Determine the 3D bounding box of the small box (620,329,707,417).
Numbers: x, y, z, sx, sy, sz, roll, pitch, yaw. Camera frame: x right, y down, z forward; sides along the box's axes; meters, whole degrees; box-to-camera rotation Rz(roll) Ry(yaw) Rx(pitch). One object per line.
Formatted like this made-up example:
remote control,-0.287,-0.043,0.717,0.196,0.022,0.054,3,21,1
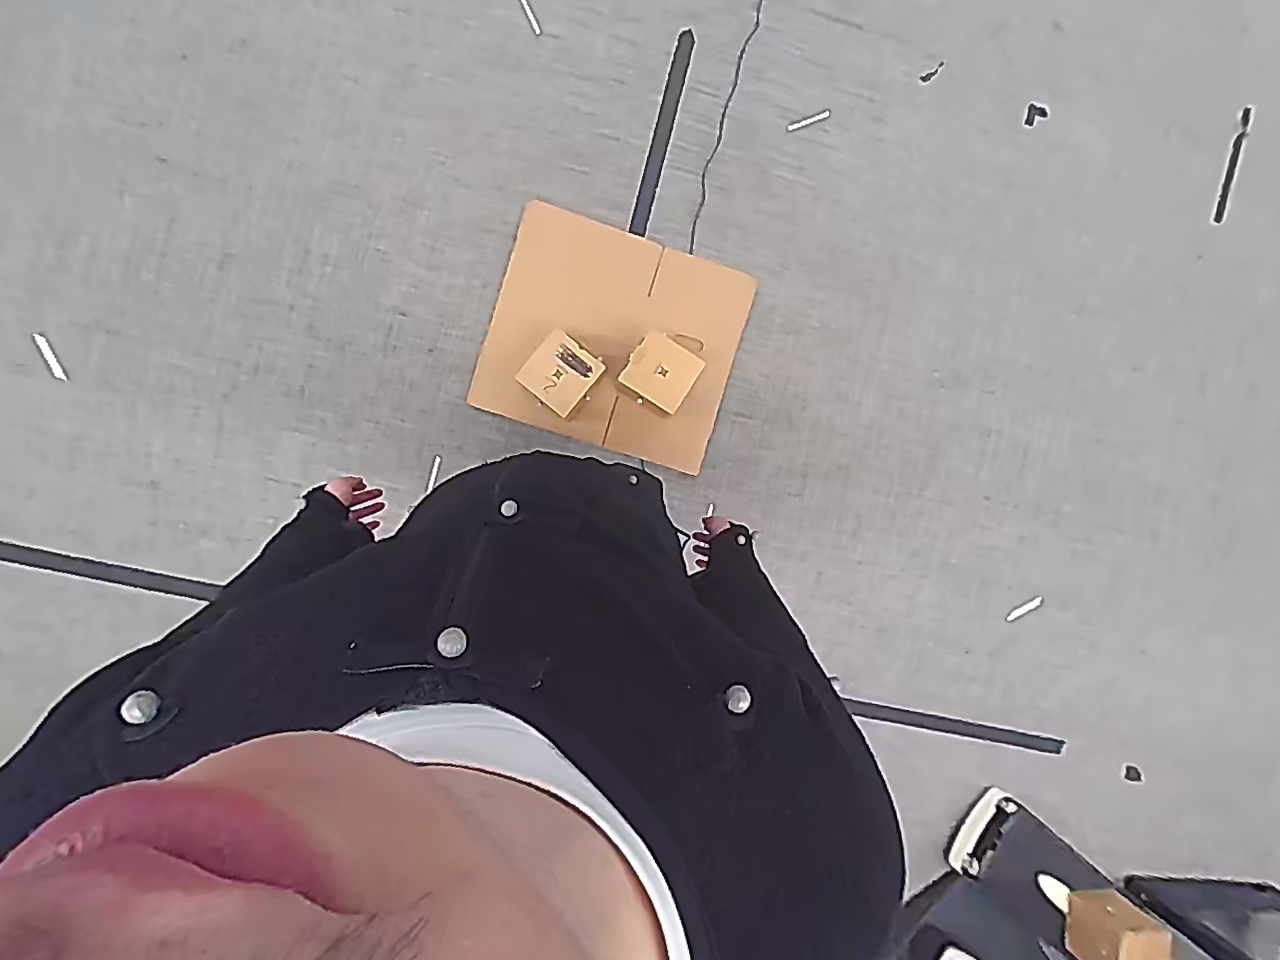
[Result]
small box,0.060,-0.288,1.503,0.179,0.176,0.168,32,90,-3
